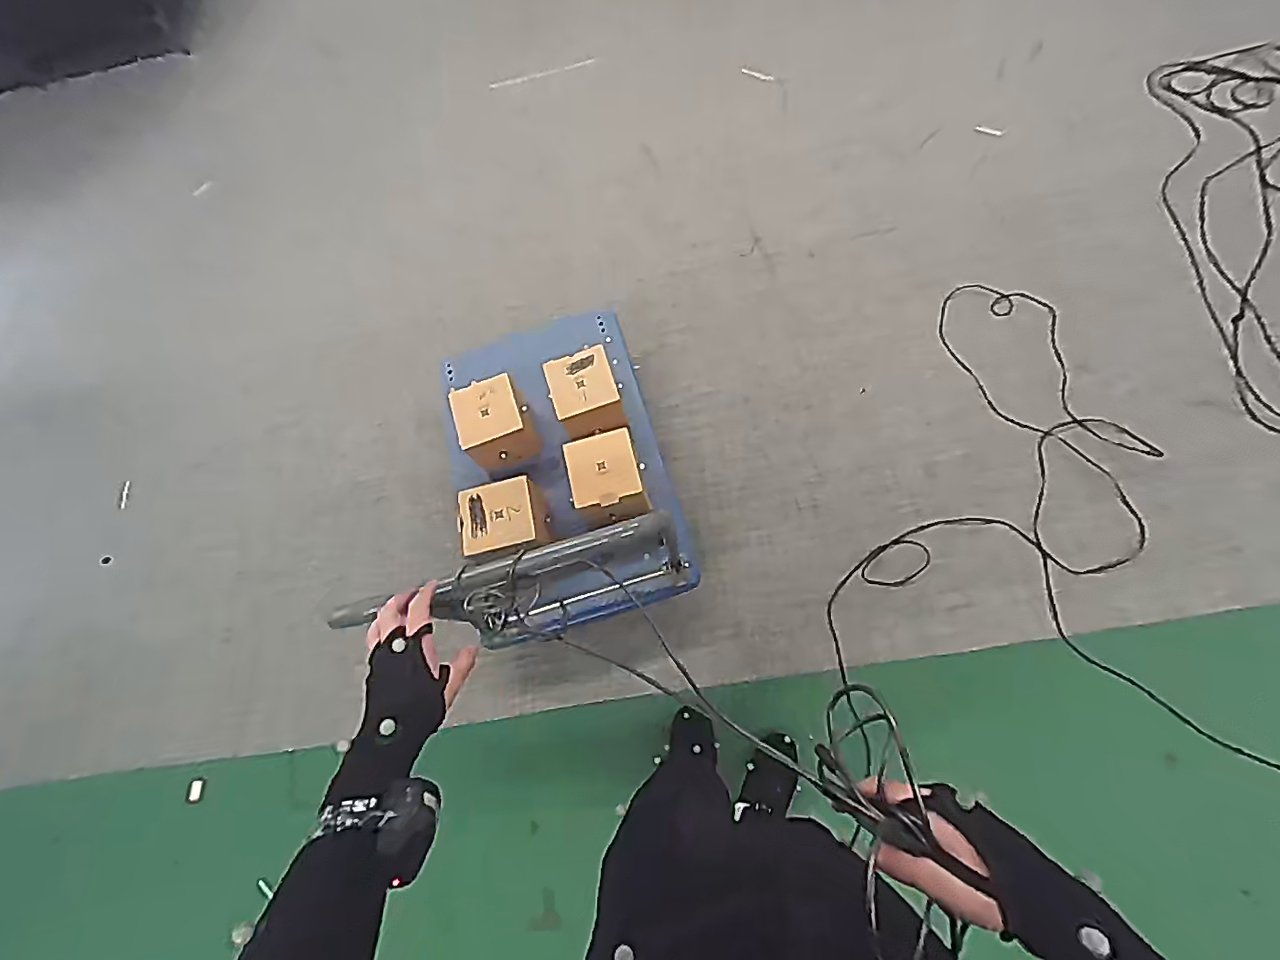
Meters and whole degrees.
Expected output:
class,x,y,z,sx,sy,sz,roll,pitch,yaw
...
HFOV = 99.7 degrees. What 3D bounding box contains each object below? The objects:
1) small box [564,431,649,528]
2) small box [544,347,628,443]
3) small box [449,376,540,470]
class,x,y,z,sx,sy,sz,roll,pitch,yaw
small box,-0.080,0.004,1.358,0.168,0.176,0.179,-15,70,3
small box,-0.140,-0.217,1.443,0.168,0.176,0.179,-19,70,2
small box,-0.384,-0.143,1.451,0.168,0.176,0.179,-20,69,0
